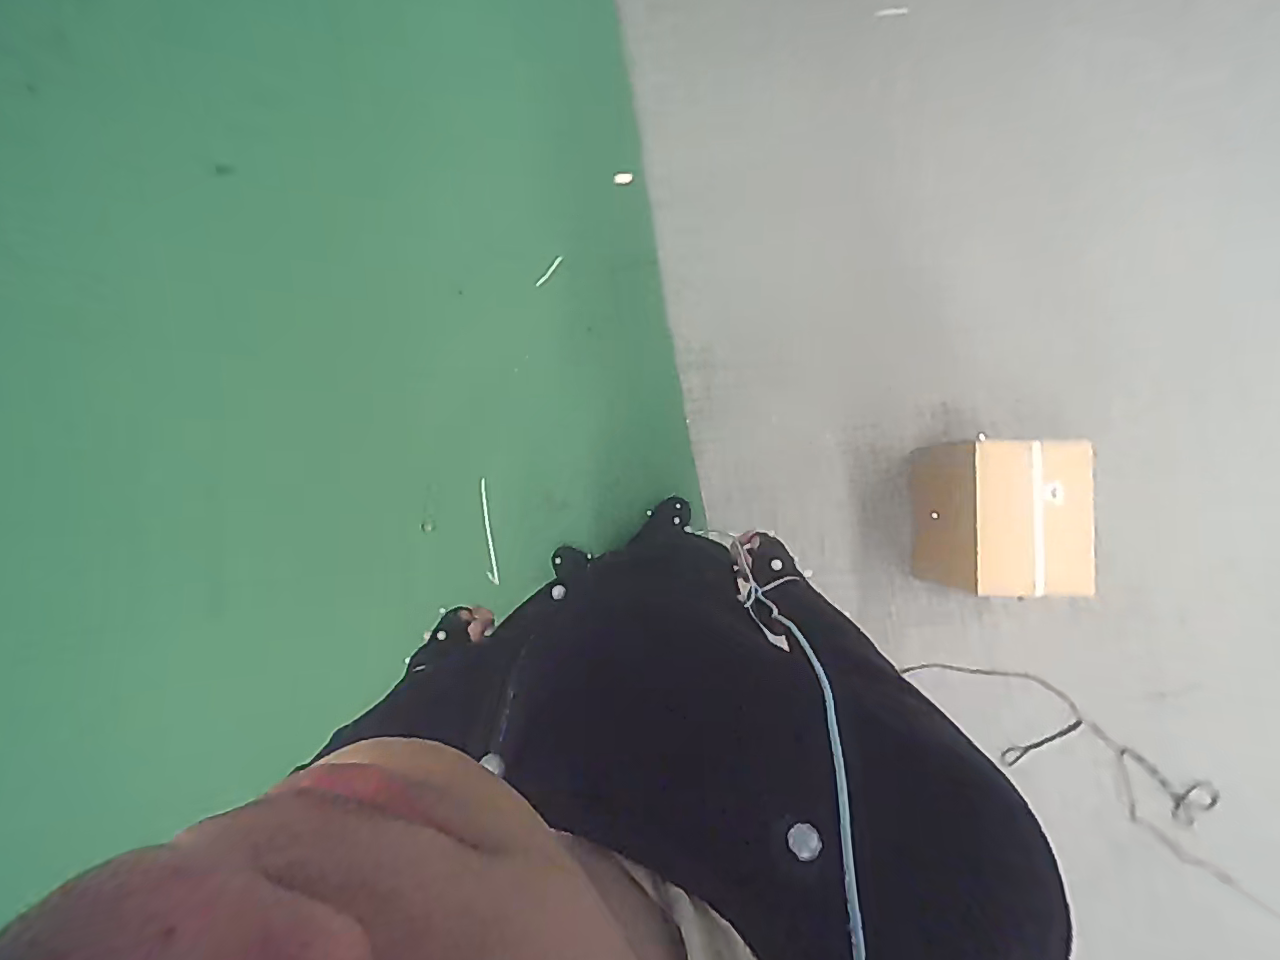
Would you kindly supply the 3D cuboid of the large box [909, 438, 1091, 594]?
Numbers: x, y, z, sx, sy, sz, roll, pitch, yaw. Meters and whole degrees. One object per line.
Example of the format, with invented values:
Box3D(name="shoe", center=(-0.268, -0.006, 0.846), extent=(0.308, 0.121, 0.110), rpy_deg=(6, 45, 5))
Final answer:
Box3D(name="large box", center=(0.993, 0.101, 1.532), extent=(0.320, 0.320, 0.408), rpy_deg=(1, 86, -2))
